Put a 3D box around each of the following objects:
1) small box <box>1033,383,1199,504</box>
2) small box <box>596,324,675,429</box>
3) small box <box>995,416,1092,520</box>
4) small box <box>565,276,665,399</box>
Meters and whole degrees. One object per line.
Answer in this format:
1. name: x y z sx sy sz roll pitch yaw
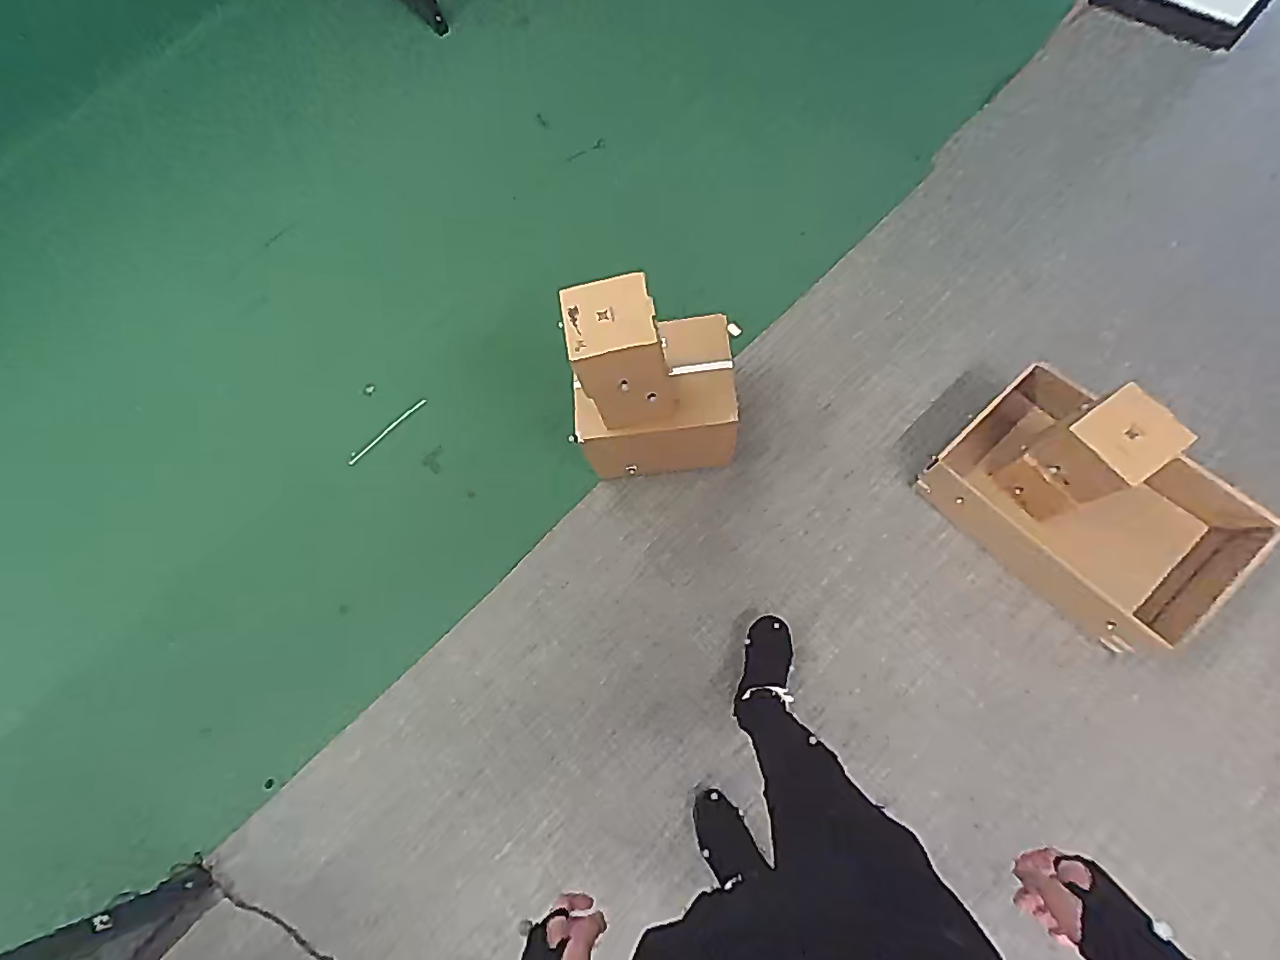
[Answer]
1. small box: 1.019 -0.073 1.178 0.179 0.176 0.168 -35 73 -4
2. small box: -0.014 -0.238 1.275 0.179 0.176 0.168 -12 70 3
3. small box: 1.033 -0.024 1.333 0.179 0.176 0.168 -39 74 -5
4. small box: -0.046 -0.288 1.121 0.179 0.176 0.168 -11 71 3
